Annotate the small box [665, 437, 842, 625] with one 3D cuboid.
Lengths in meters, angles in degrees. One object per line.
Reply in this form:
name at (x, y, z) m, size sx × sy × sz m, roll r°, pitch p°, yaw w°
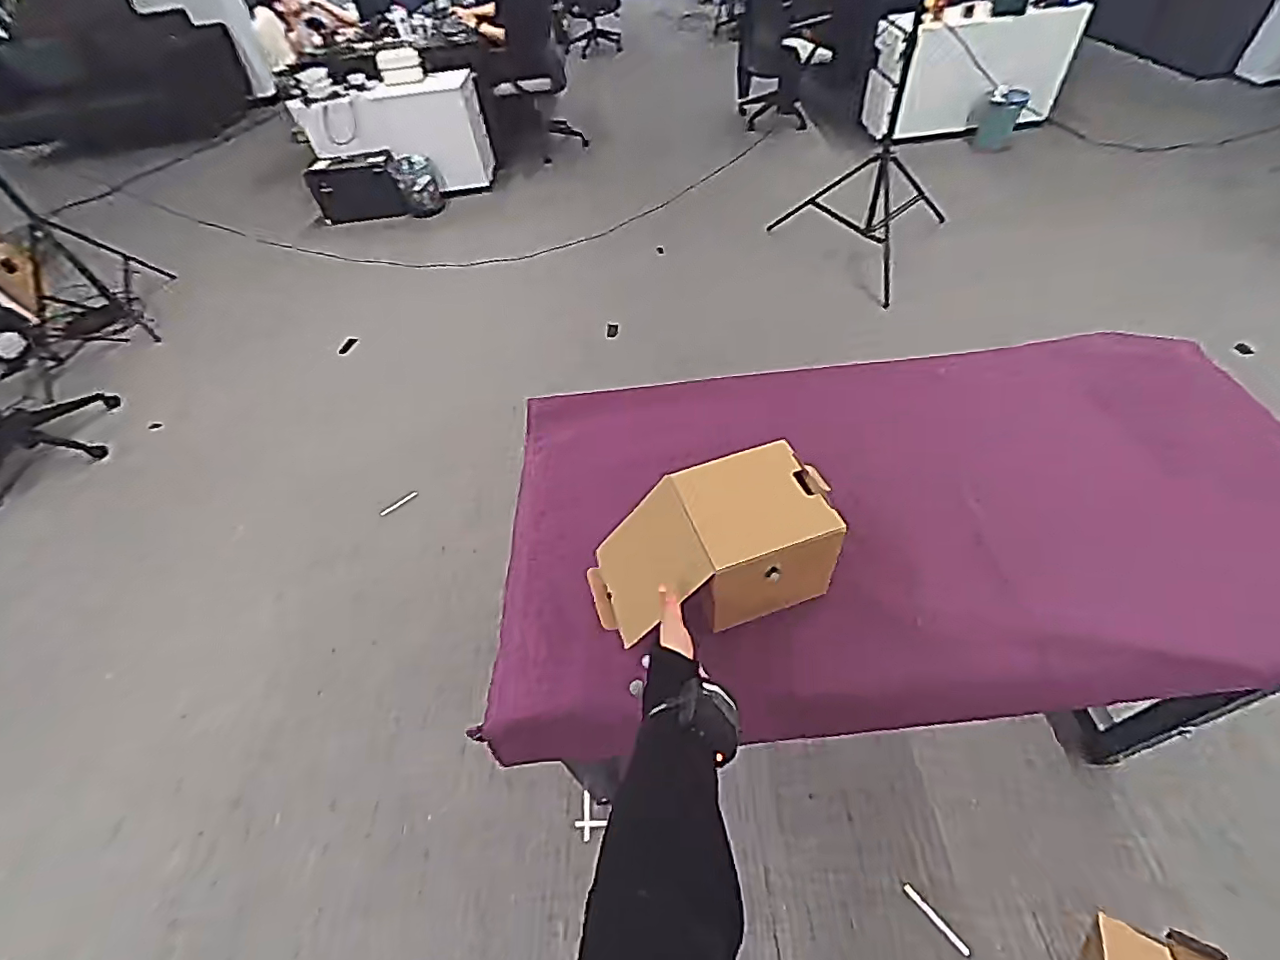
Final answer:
small box at (0.145, 0.074, 0.743) m, size 0.179 × 0.176 × 0.168 m, roll -17°, pitch 50°, yaw -8°
